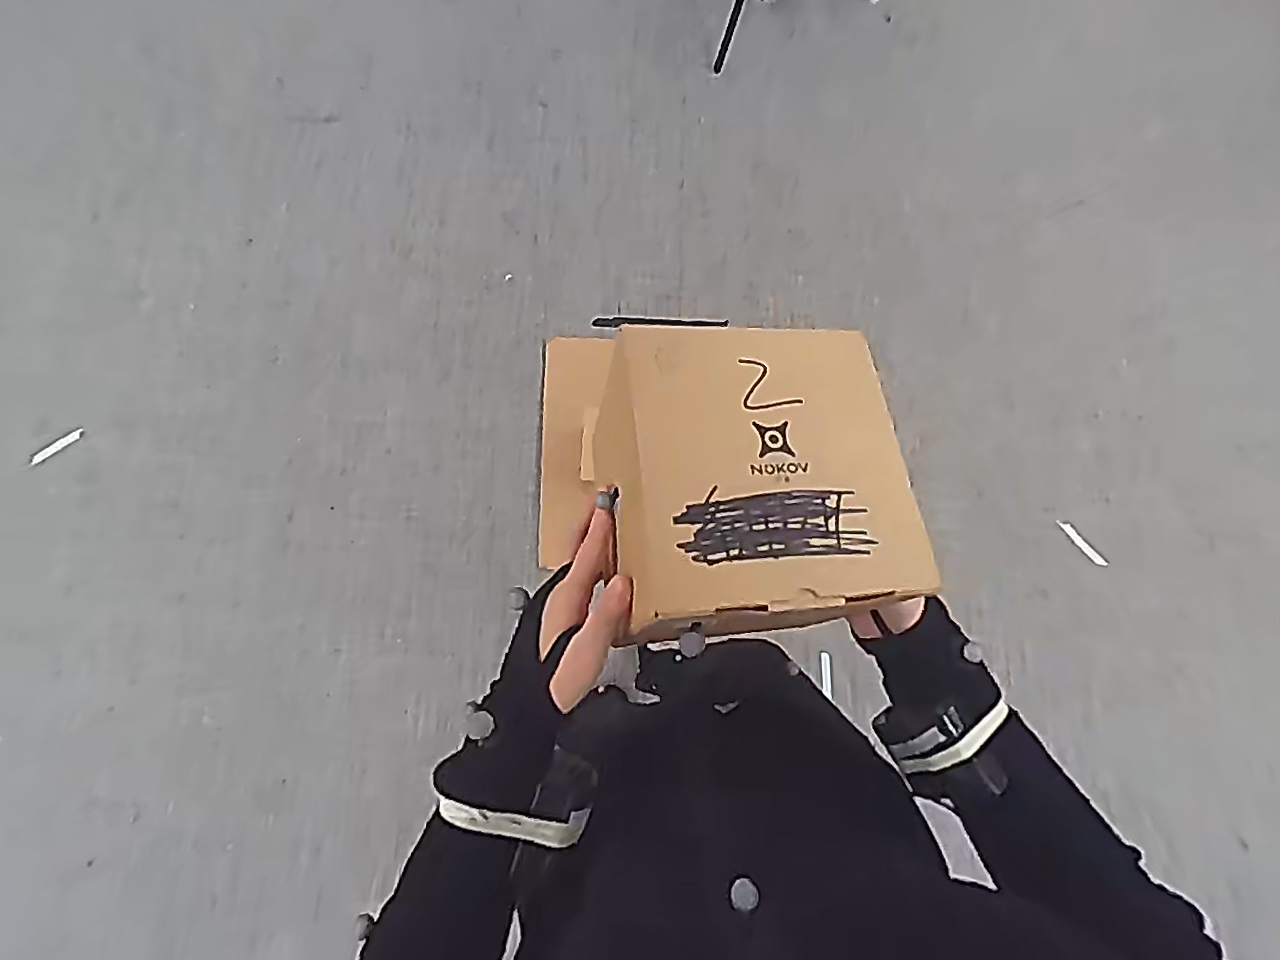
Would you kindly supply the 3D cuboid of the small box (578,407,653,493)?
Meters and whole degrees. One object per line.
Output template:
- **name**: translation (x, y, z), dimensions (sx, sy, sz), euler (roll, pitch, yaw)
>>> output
- **small box**: translation (-0.059, -0.065, 1.303), dimensions (0.168, 0.176, 0.179), euler (2, 80, -4)
